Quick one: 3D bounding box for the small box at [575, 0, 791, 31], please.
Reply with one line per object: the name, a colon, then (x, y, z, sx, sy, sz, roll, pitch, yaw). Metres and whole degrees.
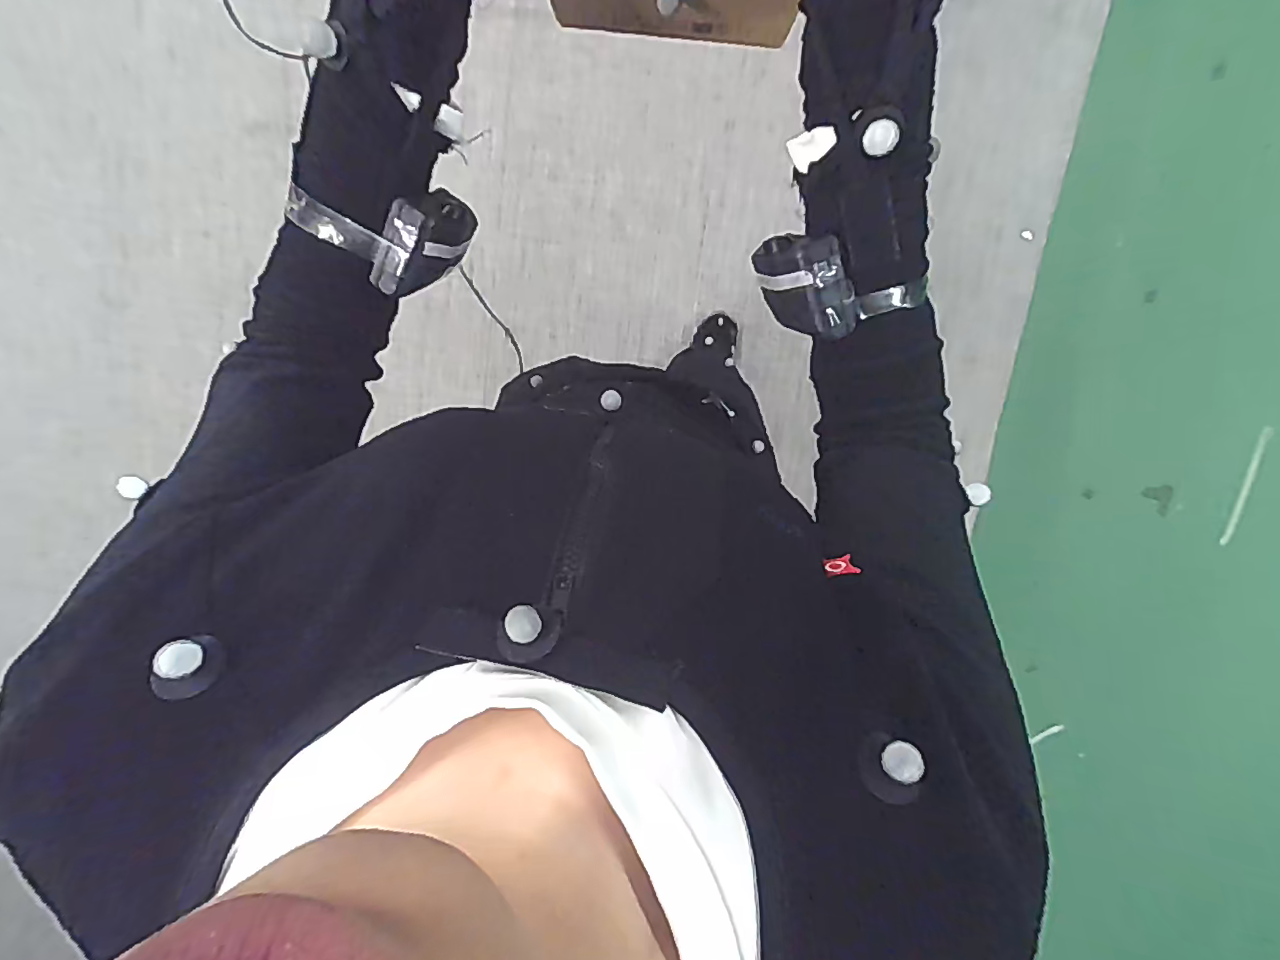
small box: (0.024, -0.383, 0.291, 0.168, 0.176, 0.179, 6, 109, 2)
